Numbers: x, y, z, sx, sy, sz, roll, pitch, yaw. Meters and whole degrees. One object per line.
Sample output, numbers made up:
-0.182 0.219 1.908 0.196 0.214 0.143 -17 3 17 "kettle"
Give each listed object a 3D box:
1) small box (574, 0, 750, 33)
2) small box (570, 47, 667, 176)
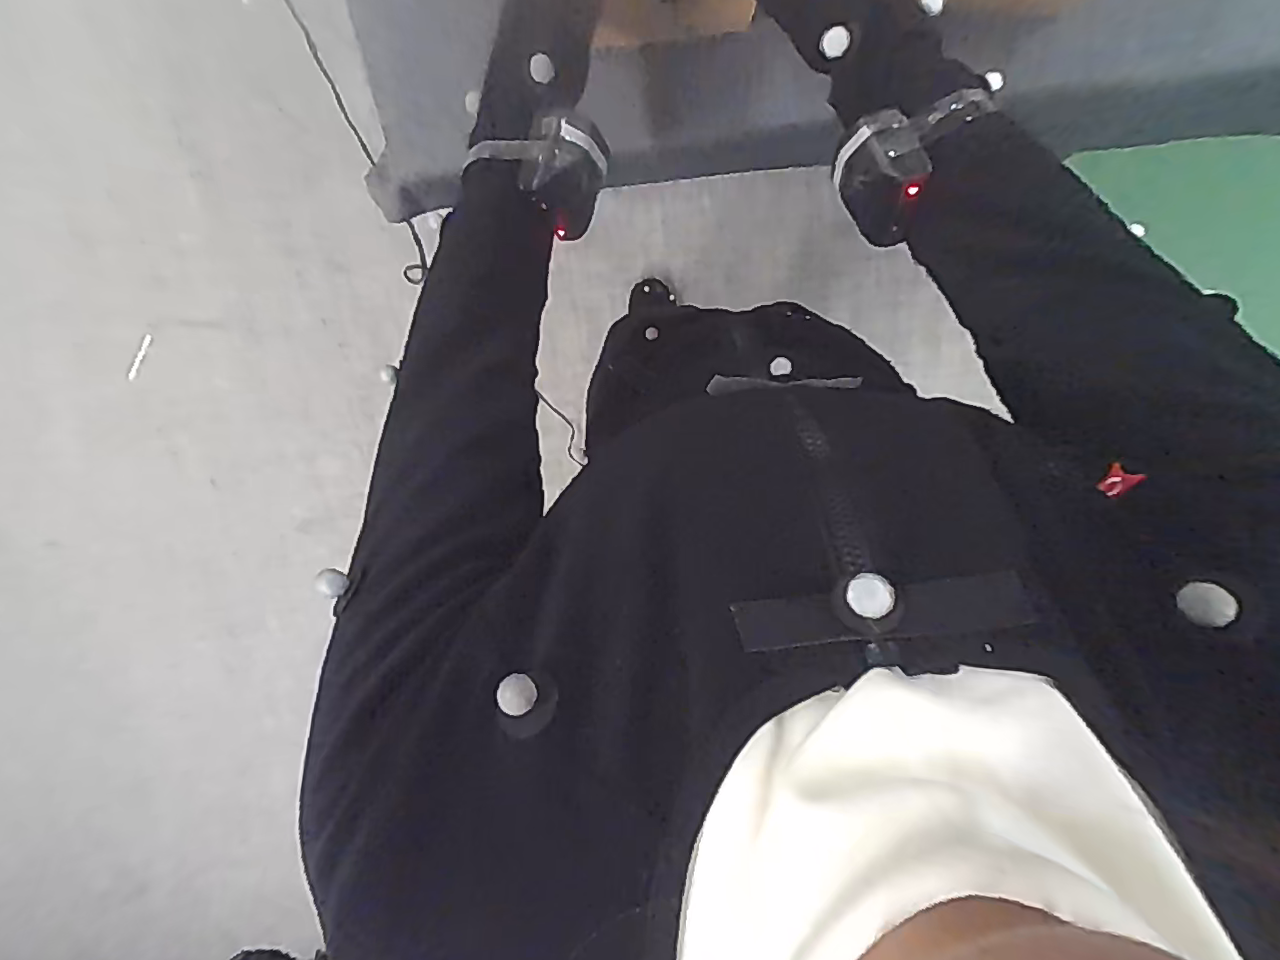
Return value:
0.016 -0.488 0.424 0.168 0.176 0.179 -5 110 2 "small box"
-0.037 -0.740 1.110 0.168 0.176 0.179 -9 110 3 "small box"
